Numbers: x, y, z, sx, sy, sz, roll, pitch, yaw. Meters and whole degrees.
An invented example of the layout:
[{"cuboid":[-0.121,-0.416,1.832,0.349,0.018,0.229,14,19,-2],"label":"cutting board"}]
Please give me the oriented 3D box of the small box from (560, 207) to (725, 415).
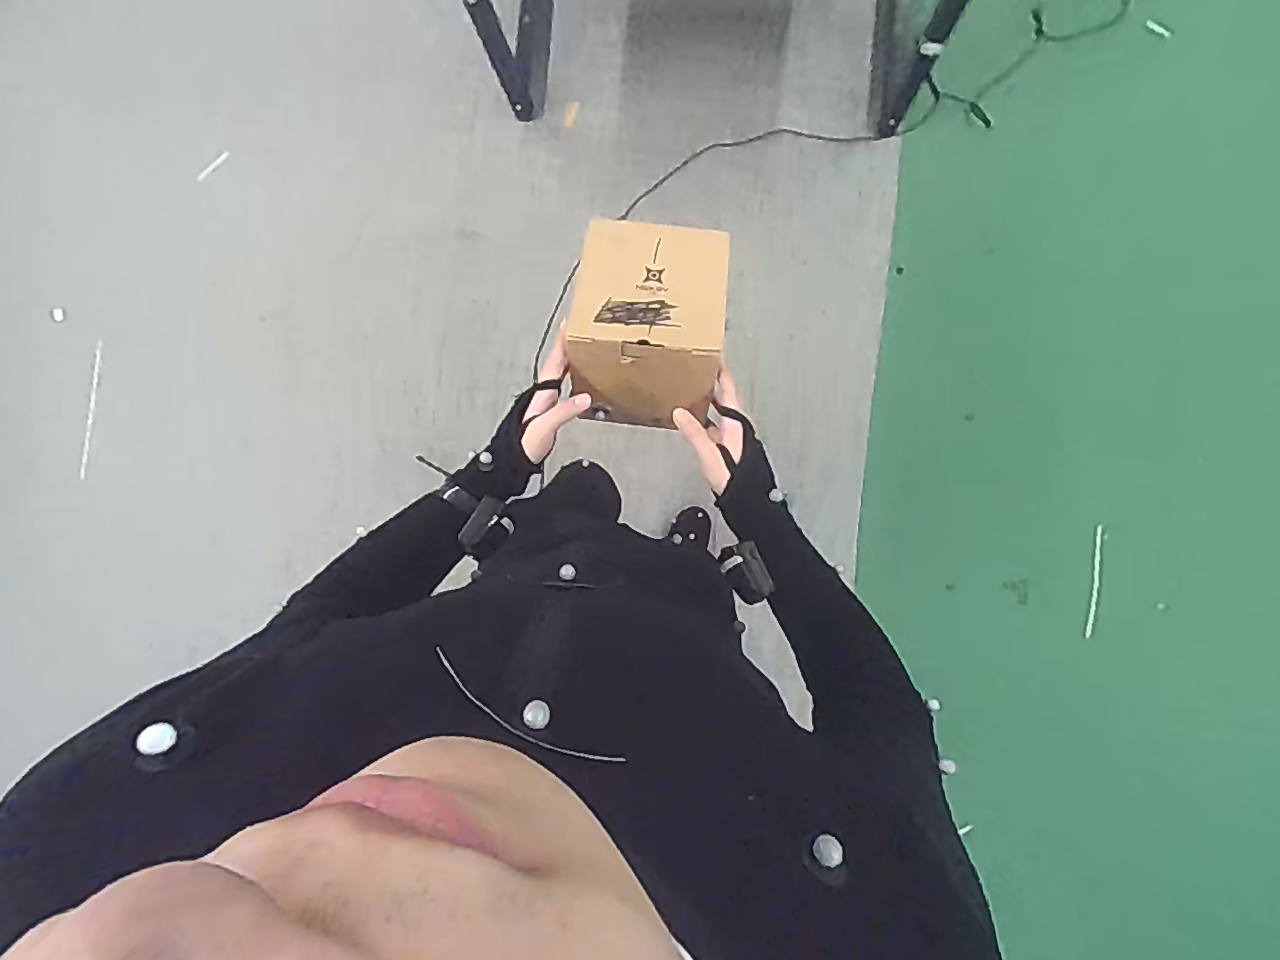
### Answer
[{"cuboid":[0.007,-0.197,0.659,0.168,0.176,0.179,6,65,2],"label":"small box"}]
